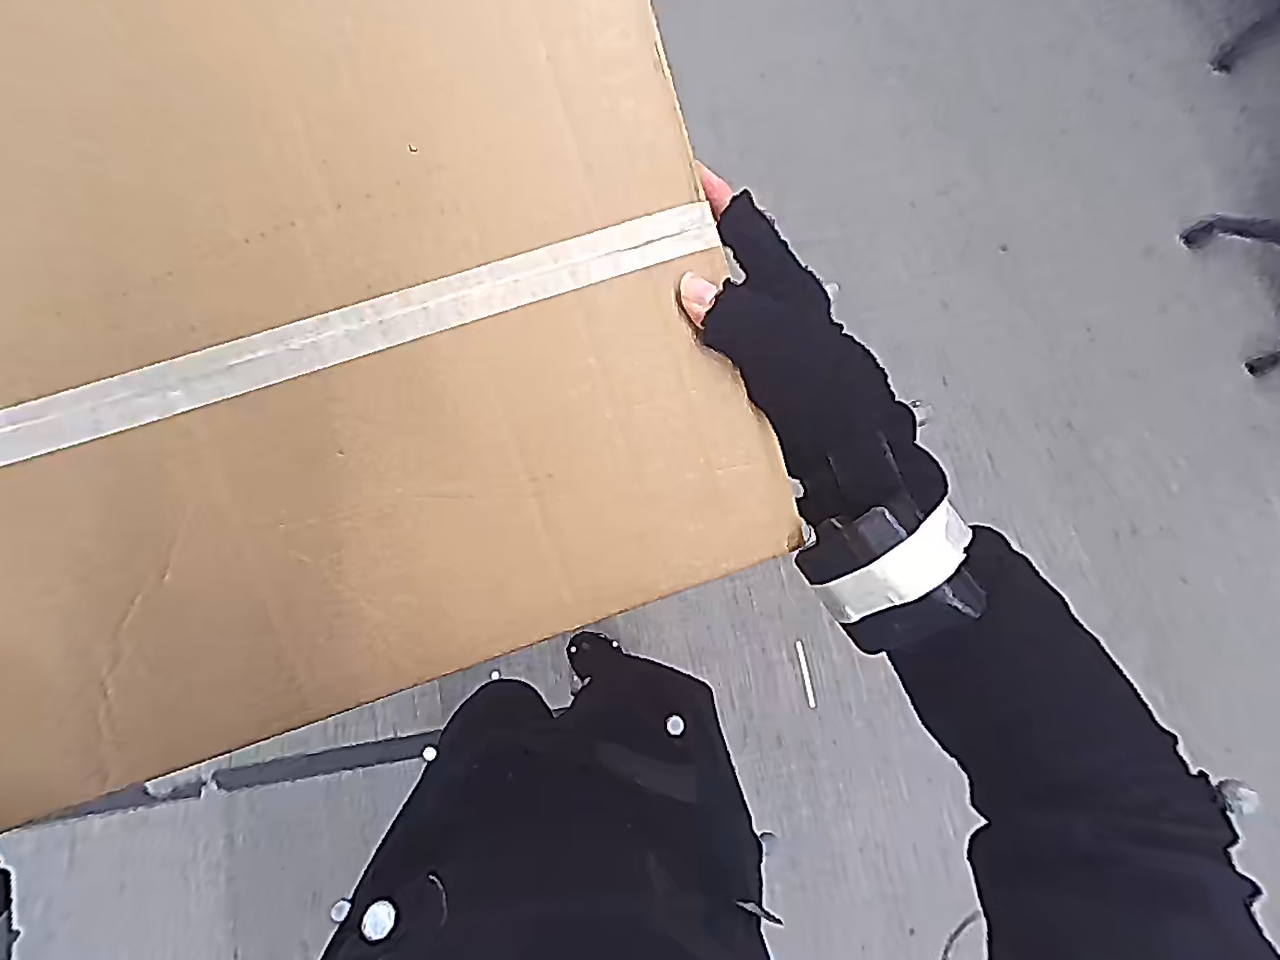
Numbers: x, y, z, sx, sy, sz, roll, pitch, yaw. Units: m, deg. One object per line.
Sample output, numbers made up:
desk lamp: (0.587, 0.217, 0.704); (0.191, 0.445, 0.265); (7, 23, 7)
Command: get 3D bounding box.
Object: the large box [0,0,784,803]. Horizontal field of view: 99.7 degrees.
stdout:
large box: (-0.171, -0.071, 0.389); (0.408, 0.320, 0.320); (-17, 96, -5)
